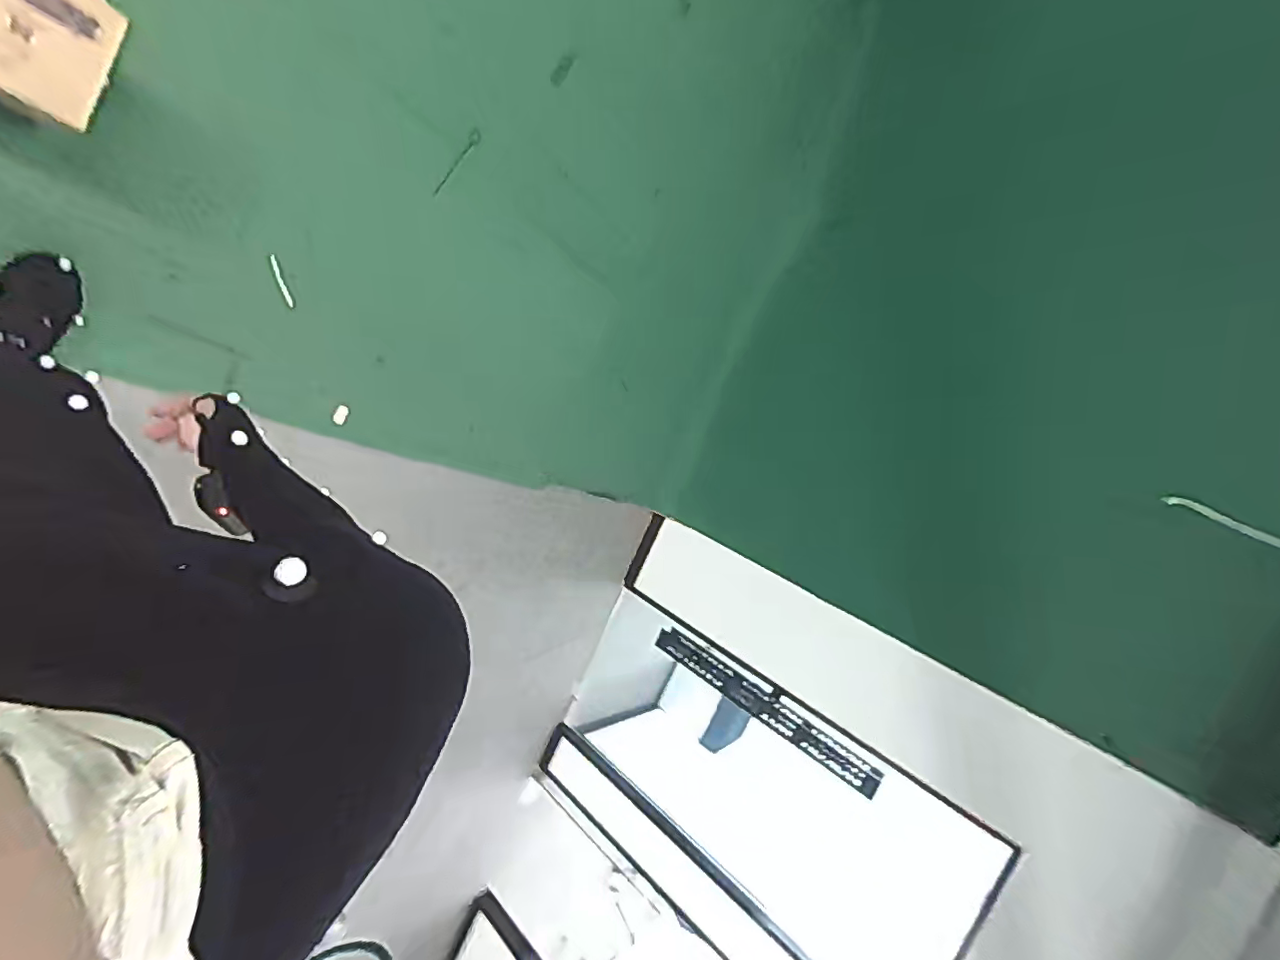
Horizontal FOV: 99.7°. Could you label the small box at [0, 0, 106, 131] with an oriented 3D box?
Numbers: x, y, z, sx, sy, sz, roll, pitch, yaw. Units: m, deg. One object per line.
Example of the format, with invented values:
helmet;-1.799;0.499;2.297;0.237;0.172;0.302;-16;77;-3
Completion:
small box;-0.995;-0.688;0.846;0.168;0.176;0.179;23;94;-57
